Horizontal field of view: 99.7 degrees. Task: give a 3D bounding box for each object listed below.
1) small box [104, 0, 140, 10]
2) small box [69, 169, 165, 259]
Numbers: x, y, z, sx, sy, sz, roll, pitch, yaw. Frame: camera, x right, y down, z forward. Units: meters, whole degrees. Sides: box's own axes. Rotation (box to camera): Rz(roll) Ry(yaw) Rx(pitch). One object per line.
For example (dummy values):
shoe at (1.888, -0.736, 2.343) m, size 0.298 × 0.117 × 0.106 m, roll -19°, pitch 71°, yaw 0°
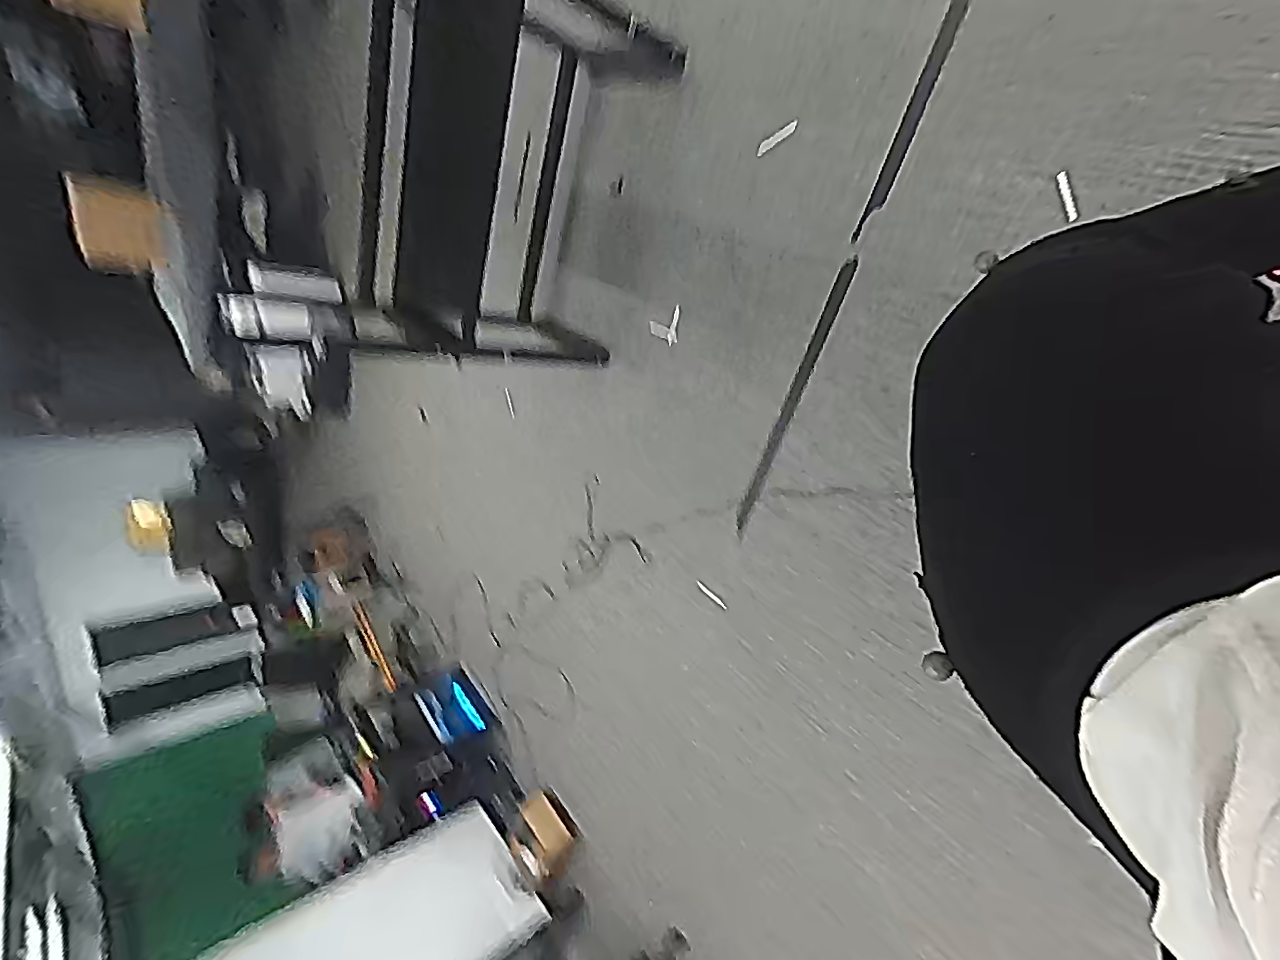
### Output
small box at (-1.296, -1.239, 1.263) m, size 0.179 × 0.176 × 0.168 m, roll 35°, pitch 120°, yaw 36°
small box at (-1.443, -0.731, 1.495) m, size 0.168 × 0.176 × 0.179 m, roll 34°, pitch 118°, yaw 36°
